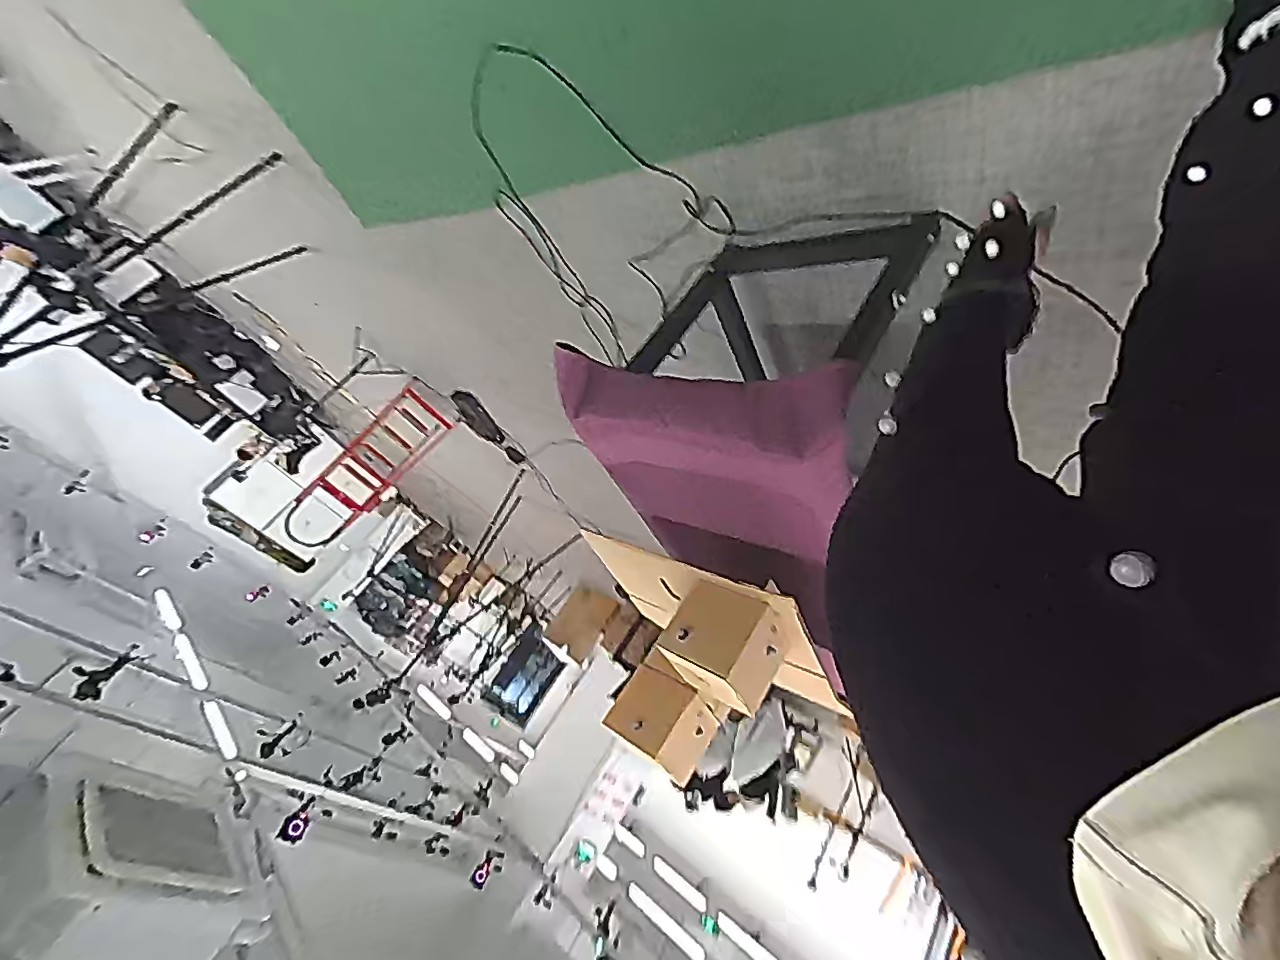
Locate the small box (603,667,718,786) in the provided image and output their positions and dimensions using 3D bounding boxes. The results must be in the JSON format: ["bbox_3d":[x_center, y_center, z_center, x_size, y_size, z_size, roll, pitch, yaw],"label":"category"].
[{"bbox_3d":[0.052,0.565,1.265,0.179,0.176,0.168,11,142,44],"label":"small box"}]

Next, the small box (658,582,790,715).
[{"bbox_3d":[0.173,0.330,1.092,0.179,0.176,0.168,13,146,43],"label":"small box"}]

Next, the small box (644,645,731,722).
[{"bbox_3d":[0.149,0.450,1.327,0.179,0.176,0.168,13,144,44],"label":"small box"}]
